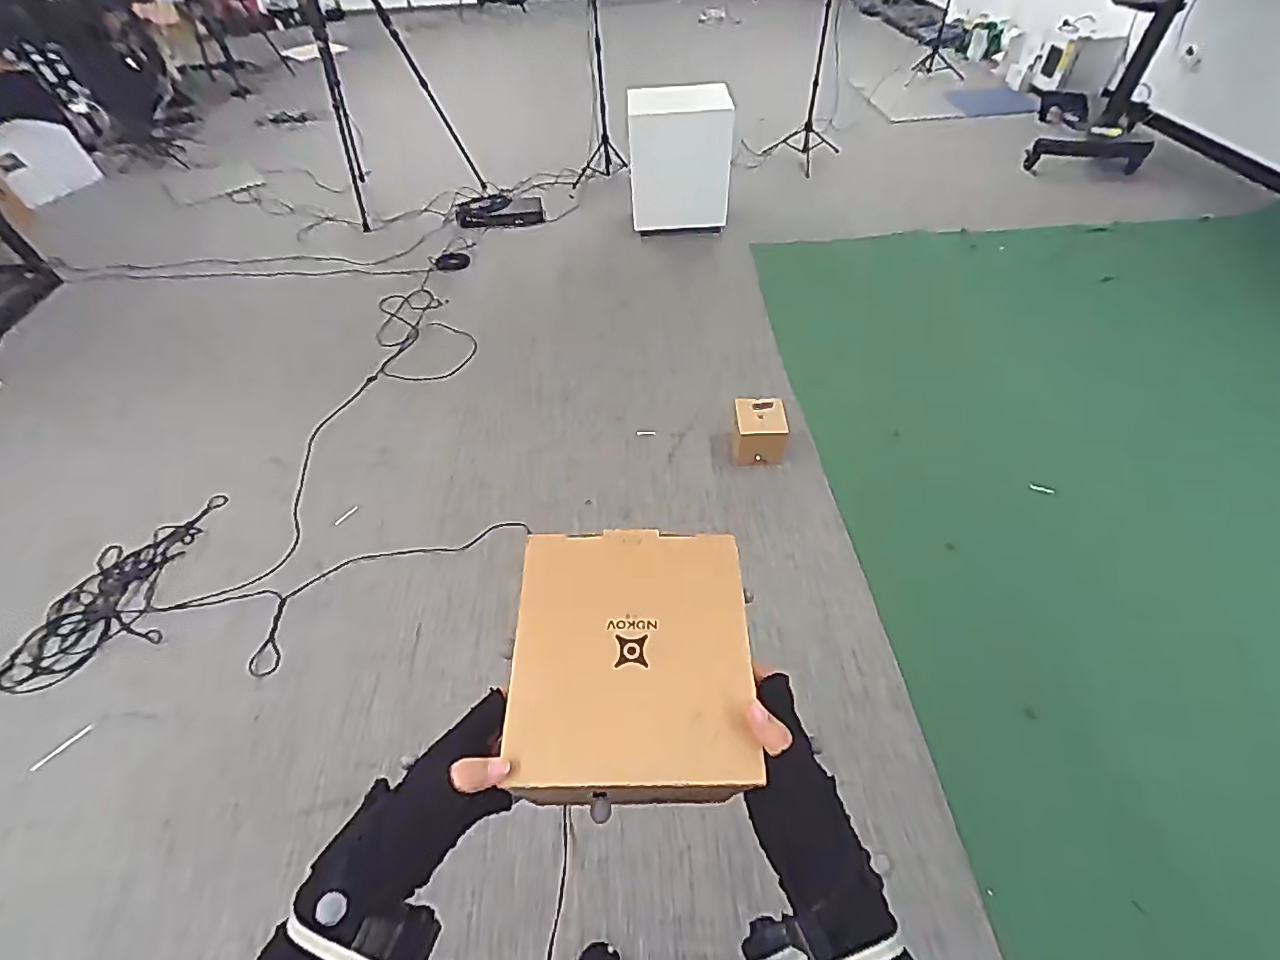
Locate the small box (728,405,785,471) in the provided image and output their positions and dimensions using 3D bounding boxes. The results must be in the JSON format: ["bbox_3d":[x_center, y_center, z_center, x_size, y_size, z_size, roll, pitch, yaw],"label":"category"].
[{"bbox_3d":[0.410,-0.150,1.933,0.168,0.176,0.179,-1,51,2],"label":"small box"}]

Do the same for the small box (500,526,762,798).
[{"bbox_3d":[-0.006,0.154,0.443,0.168,0.176,0.179,0,53,-1],"label":"small box"}]
